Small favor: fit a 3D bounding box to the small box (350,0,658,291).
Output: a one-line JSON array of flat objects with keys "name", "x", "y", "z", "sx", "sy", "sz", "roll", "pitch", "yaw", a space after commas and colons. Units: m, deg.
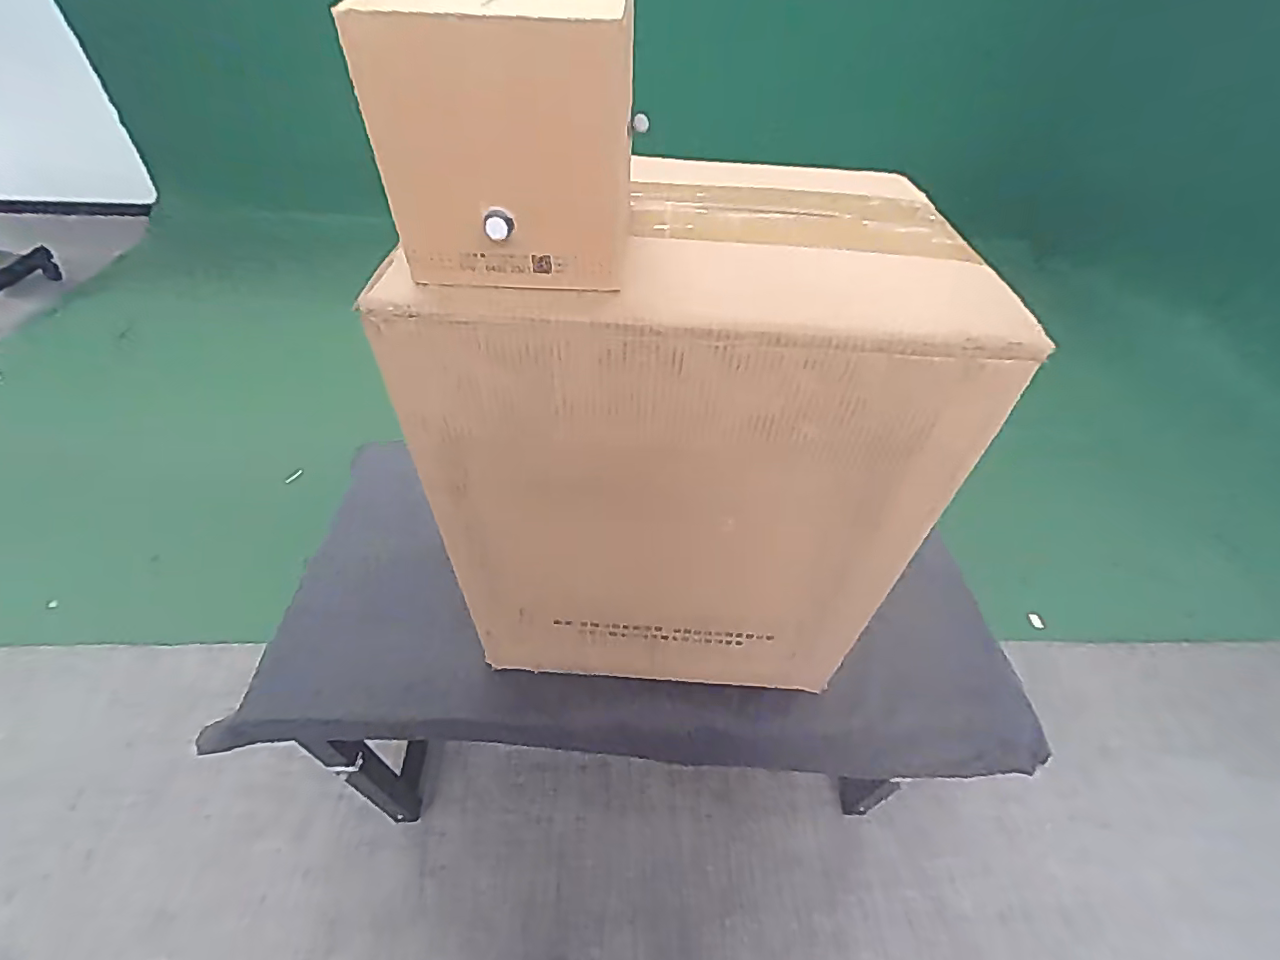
[{"name": "small box", "x": -0.077, "y": -0.265, "z": 0.403, "sx": 0.168, "sy": 0.176, "sz": 0.179, "roll": 4, "pitch": 50, "yaw": 1}]
